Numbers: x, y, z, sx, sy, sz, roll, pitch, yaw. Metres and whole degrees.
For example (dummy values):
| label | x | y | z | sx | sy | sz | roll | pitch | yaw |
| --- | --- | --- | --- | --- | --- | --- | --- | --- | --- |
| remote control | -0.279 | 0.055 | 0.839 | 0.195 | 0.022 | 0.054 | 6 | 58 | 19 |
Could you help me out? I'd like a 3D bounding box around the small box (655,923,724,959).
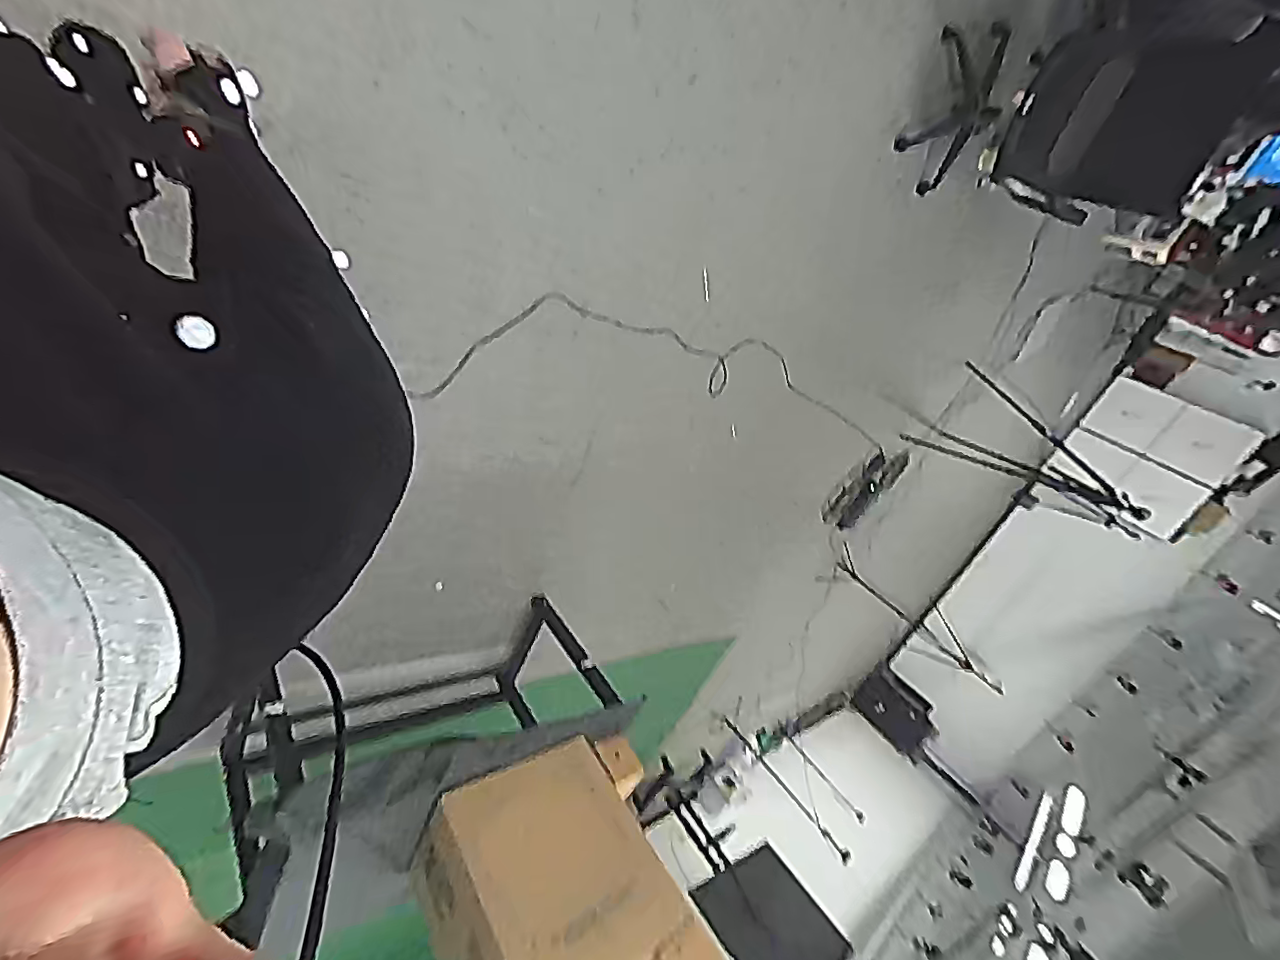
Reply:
| label | x | y | z | sx | sy | sz | roll | pitch | yaw |
| --- | --- | --- | --- | --- | --- | --- | --- | --- | --- |
| small box | 0.125 | 1.371 | 1.479 | 0.168 | 0.176 | 0.179 | 1 | 124 | -45 |
